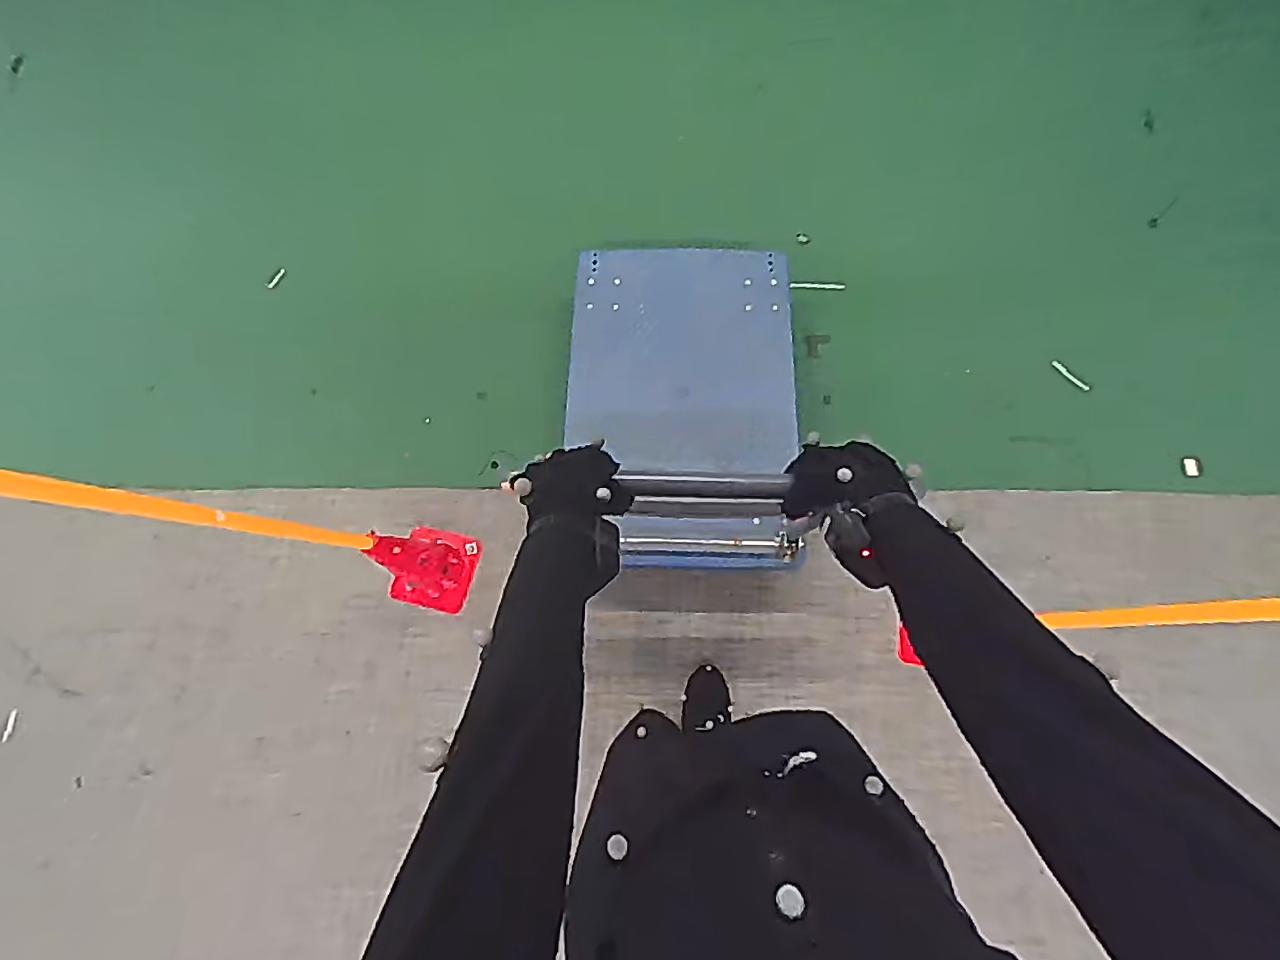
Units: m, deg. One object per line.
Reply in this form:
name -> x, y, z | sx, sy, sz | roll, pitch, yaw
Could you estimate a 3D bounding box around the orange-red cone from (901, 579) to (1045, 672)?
orange-red cone -> 0.745, 0.309, 1.175 | 0.198, 0.360, 0.199 | 11, 74, 6
